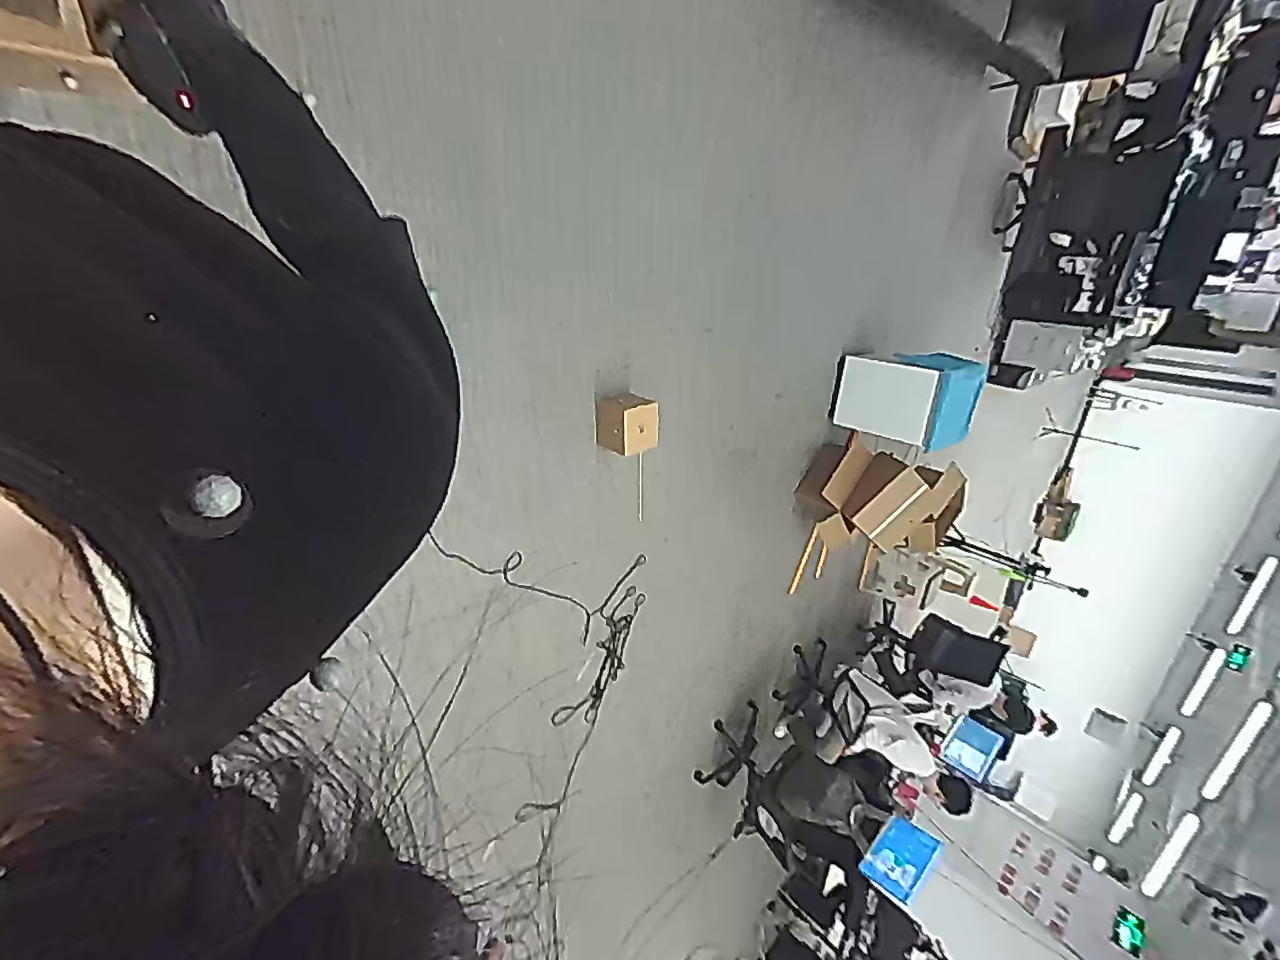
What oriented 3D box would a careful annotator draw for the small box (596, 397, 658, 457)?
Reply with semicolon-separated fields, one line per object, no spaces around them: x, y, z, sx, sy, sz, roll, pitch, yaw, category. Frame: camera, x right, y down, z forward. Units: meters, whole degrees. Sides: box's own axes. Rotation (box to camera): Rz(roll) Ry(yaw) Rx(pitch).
-0.050;-0.202;1.997;0.168;0.176;0.179;-20;121;-38;small box
